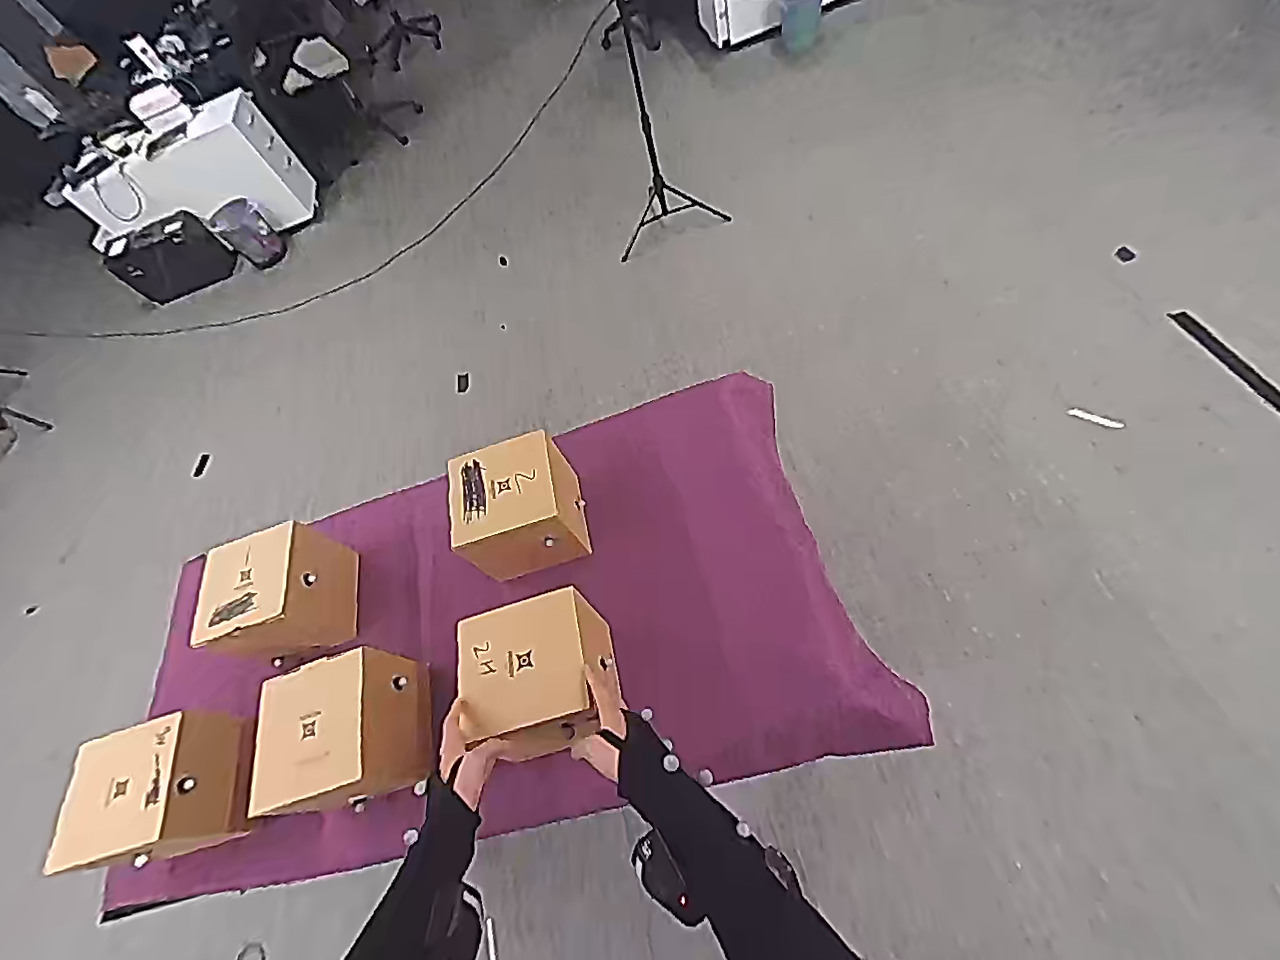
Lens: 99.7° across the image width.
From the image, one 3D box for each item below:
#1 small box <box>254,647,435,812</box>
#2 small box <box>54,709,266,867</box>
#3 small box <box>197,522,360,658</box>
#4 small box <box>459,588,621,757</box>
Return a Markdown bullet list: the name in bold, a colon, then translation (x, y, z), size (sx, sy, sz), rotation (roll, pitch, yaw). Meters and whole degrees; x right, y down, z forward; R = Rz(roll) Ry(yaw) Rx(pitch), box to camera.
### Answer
- **small box**: translation (-0.427, 0.372, 0.807), size (0.168, 0.176, 0.179), rotation (-20, 60, 5)
- **small box**: translation (-0.706, 0.468, 0.828), size (0.179, 0.176, 0.168), rotation (-19, 59, 5)
- **small box**: translation (-0.624, 0.204, 0.957), size (0.168, 0.176, 0.179), rotation (-19, 58, 4)
- **small box**: translation (-0.136, 0.279, 0.770), size (0.179, 0.176, 0.168), rotation (-19, 54, 6)
